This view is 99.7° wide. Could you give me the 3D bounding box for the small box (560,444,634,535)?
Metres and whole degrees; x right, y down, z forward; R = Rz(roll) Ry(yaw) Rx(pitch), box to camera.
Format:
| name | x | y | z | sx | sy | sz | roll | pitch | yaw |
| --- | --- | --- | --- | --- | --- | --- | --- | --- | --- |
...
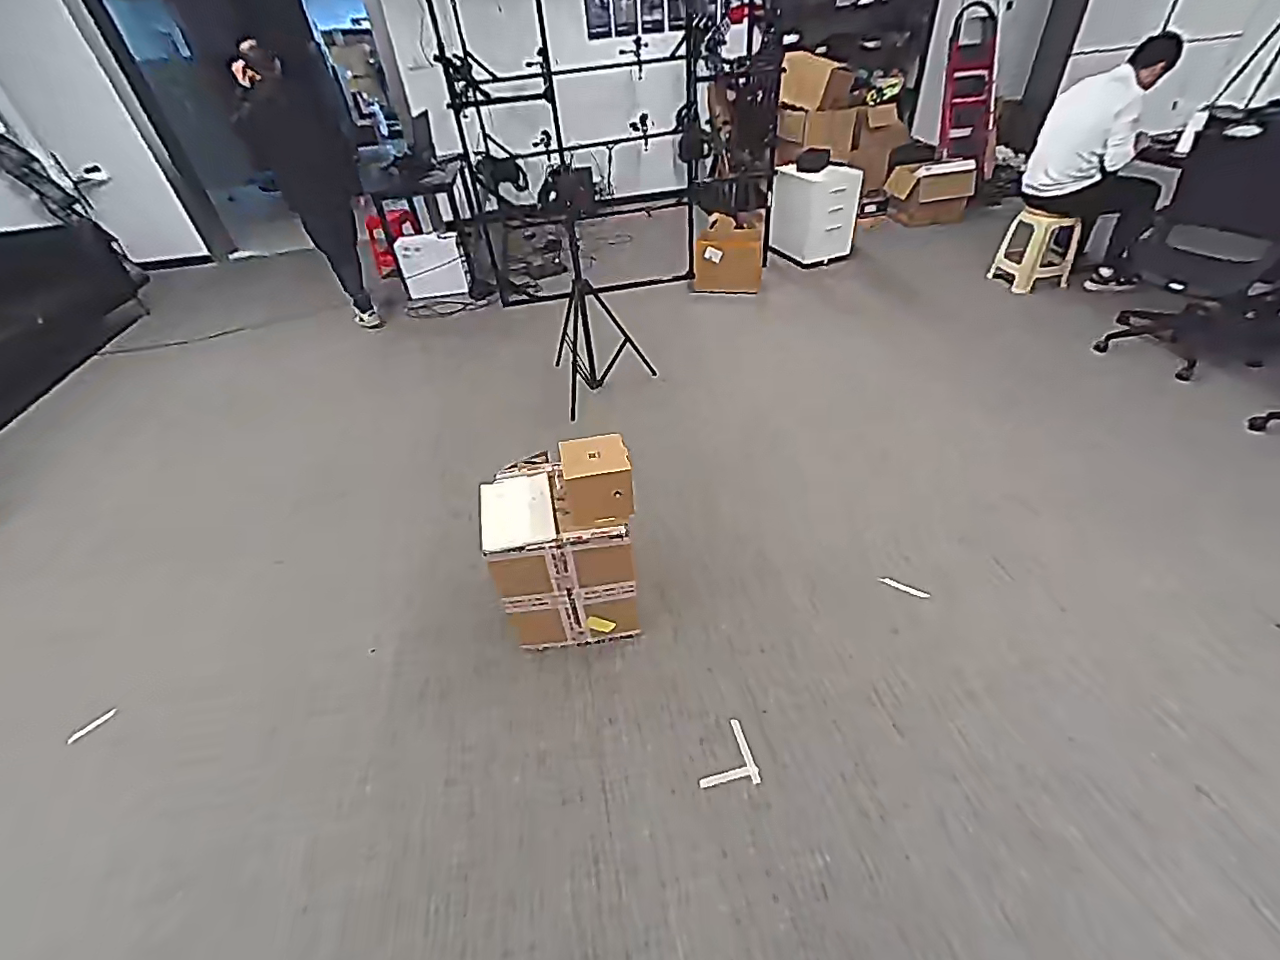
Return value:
| name | x | y | z | sx | sy | sz | roll | pitch | yaw |
| --- | --- | --- | --- | --- | --- | --- | --- | --- | --- |
| small box | -0.116 | 0.027 | 1.487 | 0.179 | 0.176 | 0.168 | -11 | 41 | -7 |
